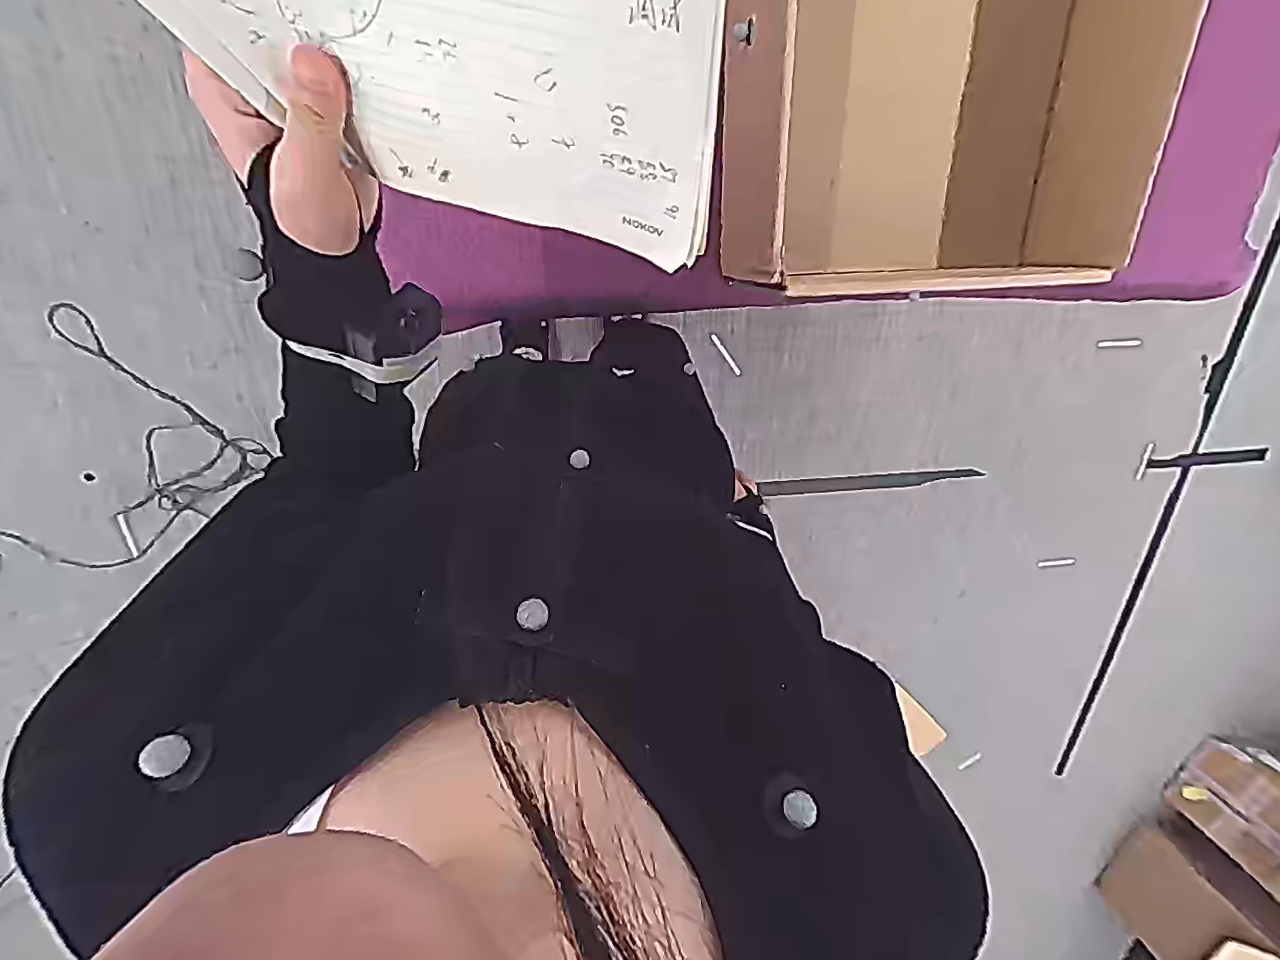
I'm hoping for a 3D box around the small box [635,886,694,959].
[{"bbox_3d":[0.079,1.495,1.805,0.168,0.176,0.179,-7,115,-7],"label":"small box"}]
